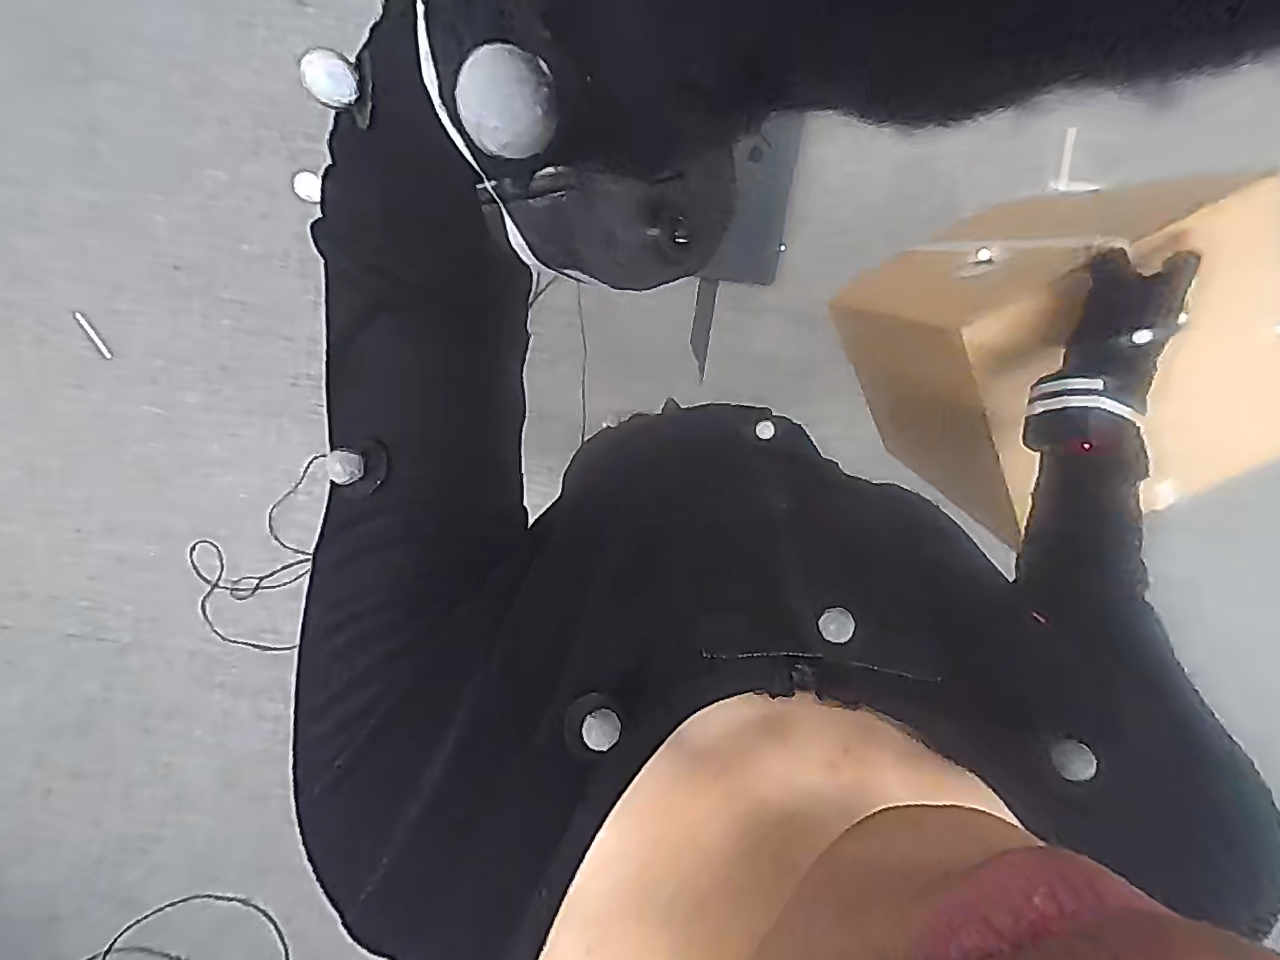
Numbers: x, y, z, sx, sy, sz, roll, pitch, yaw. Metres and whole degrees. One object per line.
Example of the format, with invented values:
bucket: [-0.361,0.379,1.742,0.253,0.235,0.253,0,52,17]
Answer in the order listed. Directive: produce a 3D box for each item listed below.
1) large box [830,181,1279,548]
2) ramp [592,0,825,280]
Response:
large box: [0.524,-0.174,0.760,0.320,0.408,0.320,-26,113,10]
ramp: [0.175,-1.028,1.284,0.509,0.206,0.991,6,97,-1]
